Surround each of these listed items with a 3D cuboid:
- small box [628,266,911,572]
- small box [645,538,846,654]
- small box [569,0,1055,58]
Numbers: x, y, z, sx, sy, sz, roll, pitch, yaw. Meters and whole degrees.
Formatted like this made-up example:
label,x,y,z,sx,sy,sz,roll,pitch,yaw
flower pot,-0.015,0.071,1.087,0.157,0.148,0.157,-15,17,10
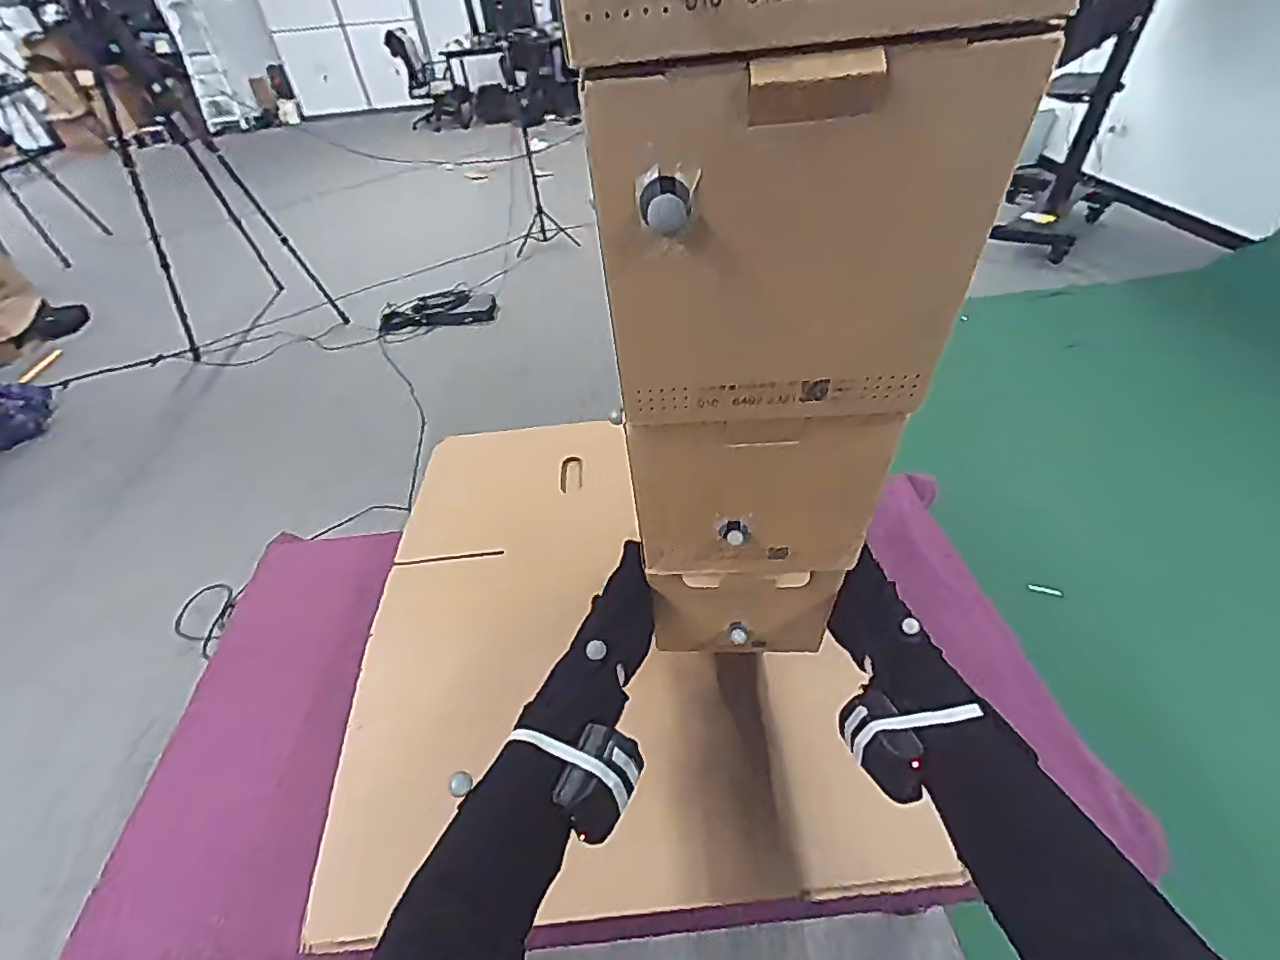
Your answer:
label,x,y,z,sx,sy,sz,roll,pitch,yaw
small box,0.082,-0.046,0.428,0.168,0.176,0.179,-2,49,5
small box,0.097,0.057,0.554,0.168,0.176,0.179,-1,49,7
small box,0.053,-0.258,0.177,0.168,0.176,0.179,-2,47,5
